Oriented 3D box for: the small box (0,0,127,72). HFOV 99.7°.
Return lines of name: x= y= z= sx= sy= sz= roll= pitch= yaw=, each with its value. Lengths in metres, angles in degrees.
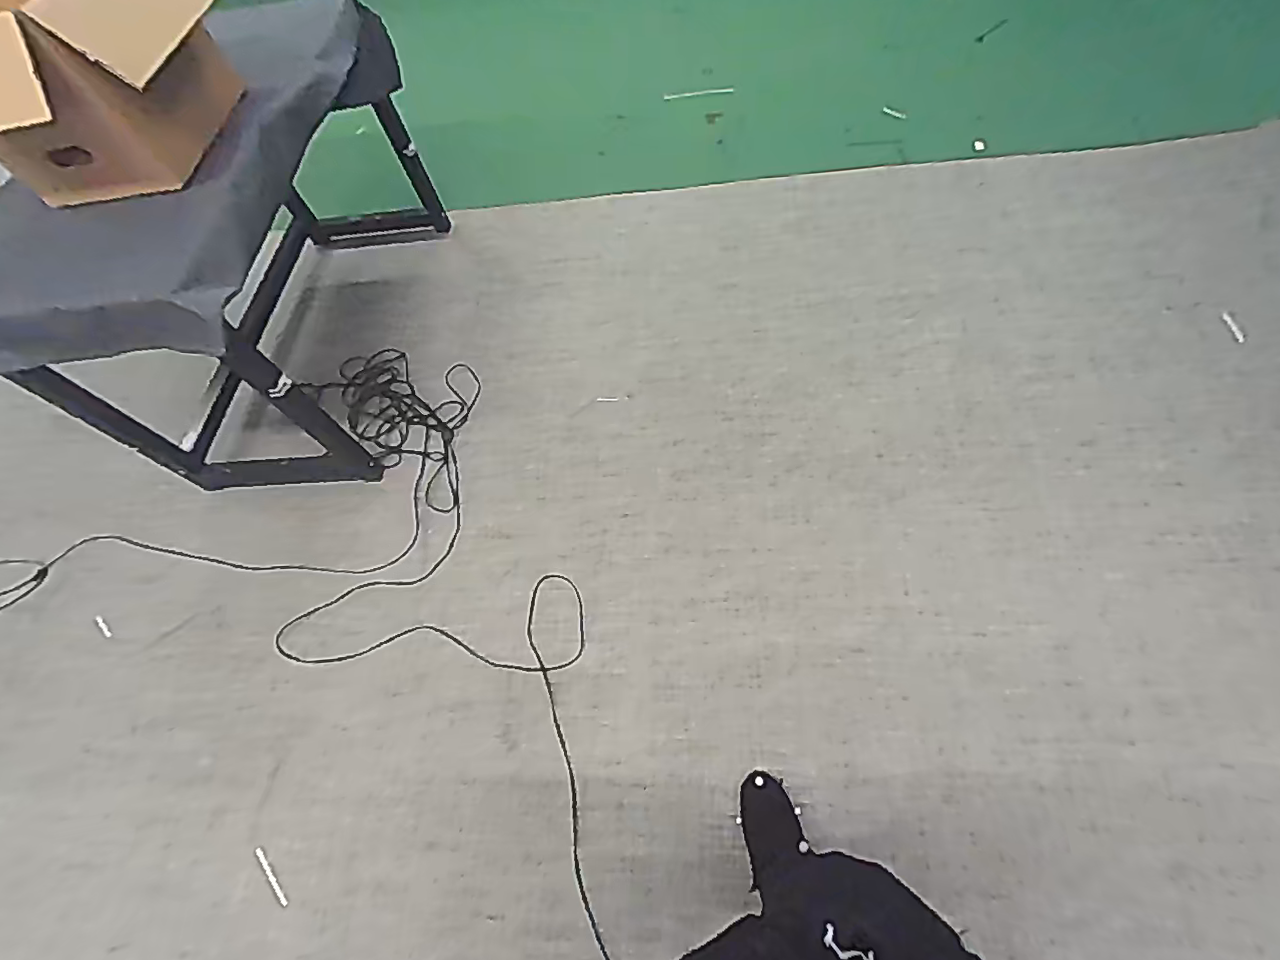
small box: x=-1.129 y=-0.904 z=1.009 sx=0.168 sy=0.176 sz=0.179 roll=-4 pitch=61 yaw=6
